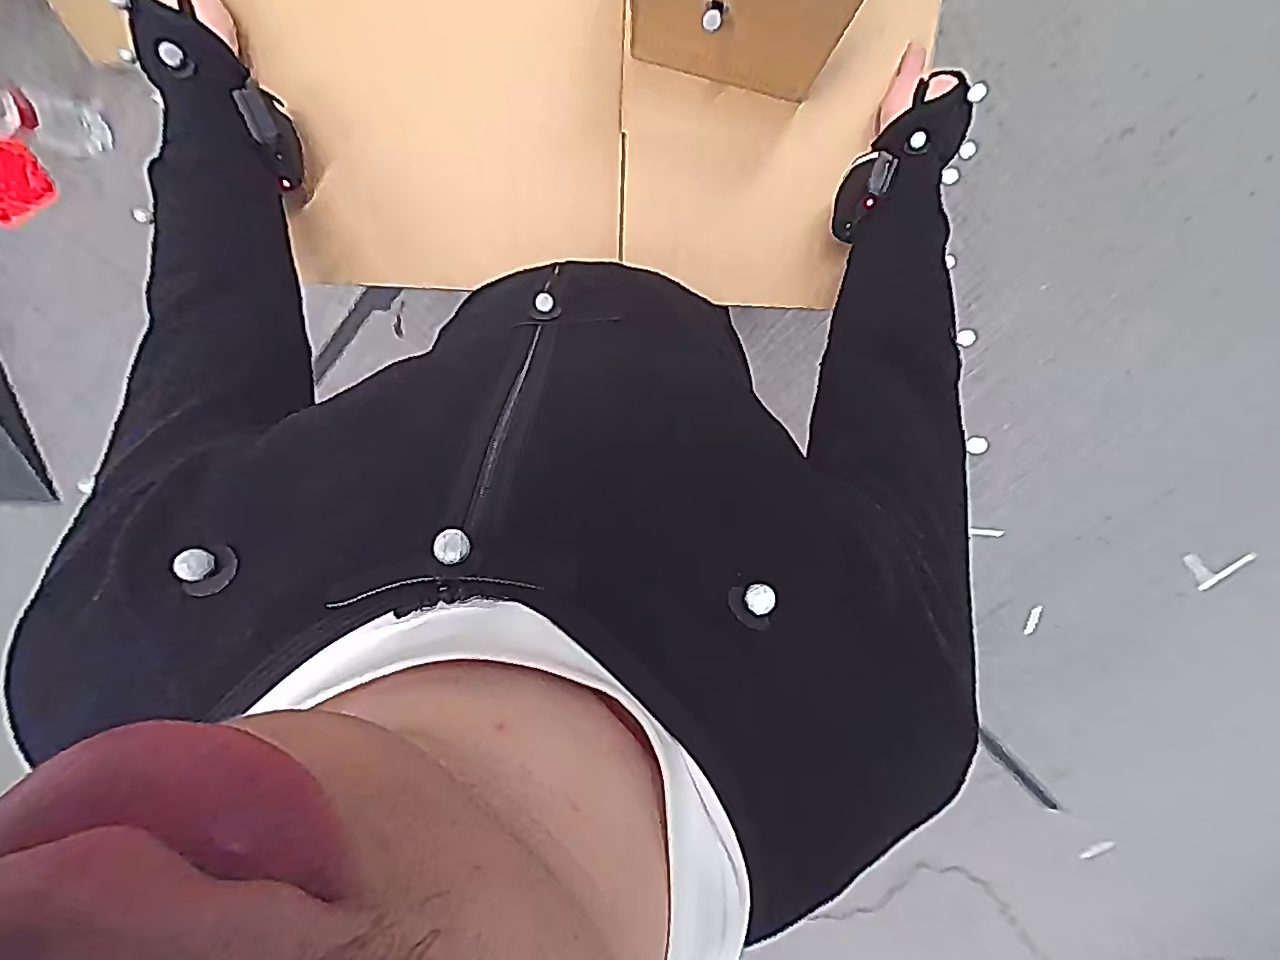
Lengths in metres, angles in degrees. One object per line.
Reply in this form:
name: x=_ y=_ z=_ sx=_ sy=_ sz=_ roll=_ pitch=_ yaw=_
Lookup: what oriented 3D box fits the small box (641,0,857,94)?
small box: x=0.100 y=-0.455 z=0.438 sx=0.179 sy=0.176 sz=0.168 roll=14 pitch=102 yaw=-2
